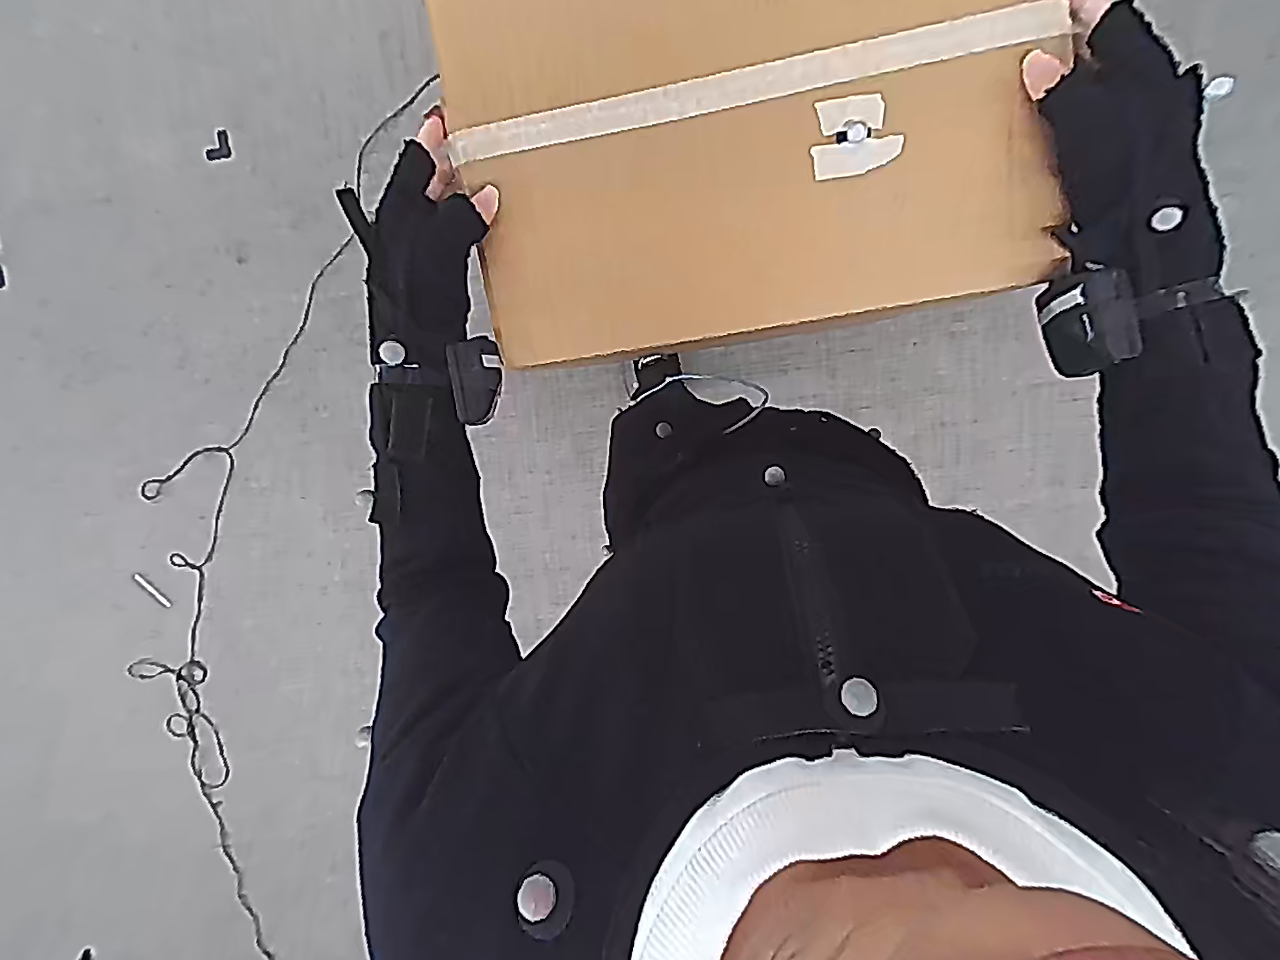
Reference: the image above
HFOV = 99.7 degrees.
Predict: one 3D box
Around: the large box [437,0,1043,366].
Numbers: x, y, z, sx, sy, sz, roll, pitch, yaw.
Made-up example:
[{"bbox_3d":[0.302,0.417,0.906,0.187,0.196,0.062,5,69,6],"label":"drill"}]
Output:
[{"bbox_3d":[0.078,-0.299,0.524,0.408,0.320,0.320,-8,102,6],"label":"large box"}]
